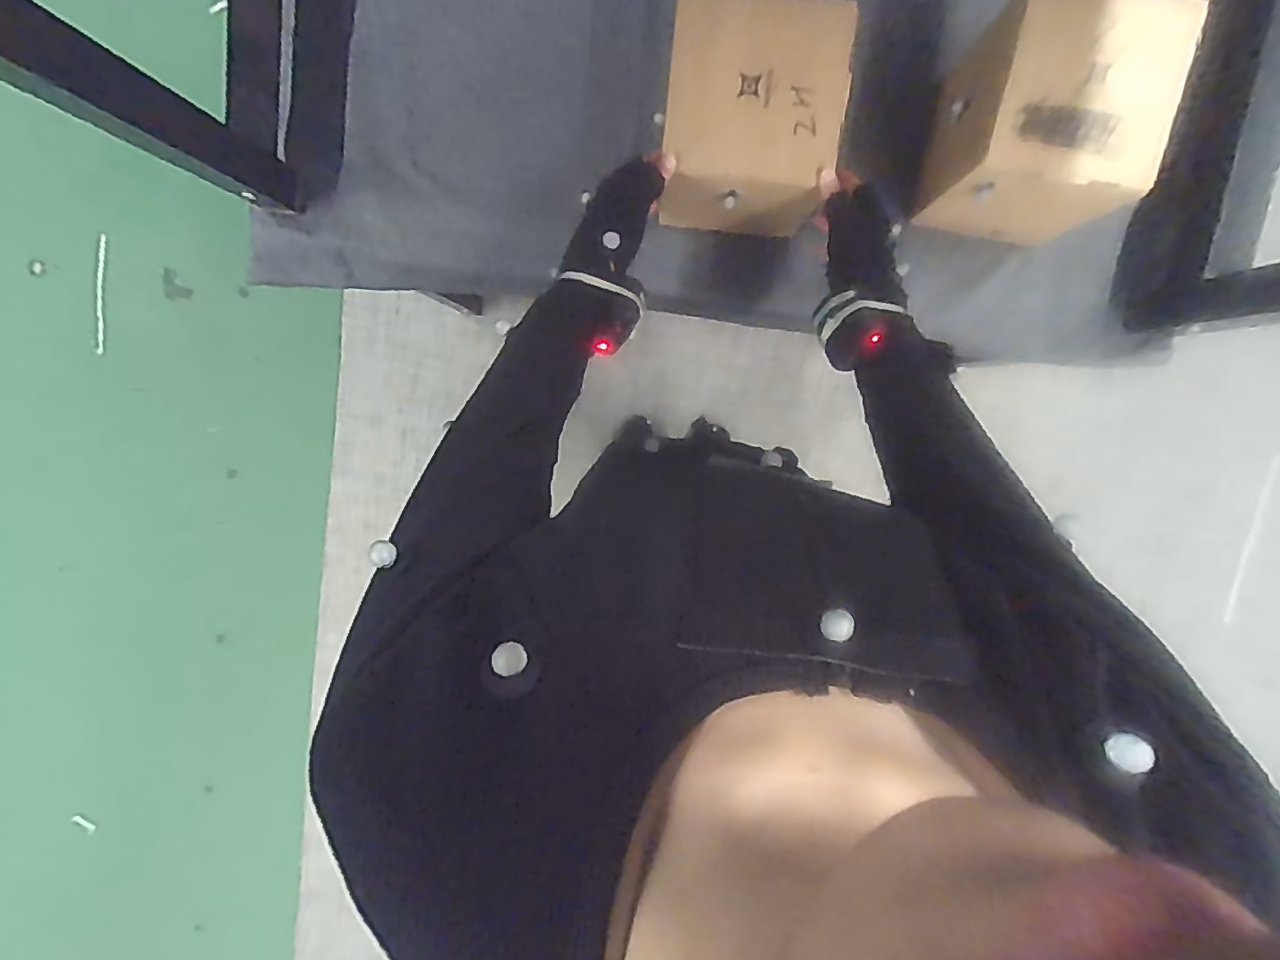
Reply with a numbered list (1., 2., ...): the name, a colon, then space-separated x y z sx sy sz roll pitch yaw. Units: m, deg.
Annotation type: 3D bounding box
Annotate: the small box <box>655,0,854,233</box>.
1. small box: 0.114 -0.394 0.609 0.179 0.176 0.168 6 99 1
